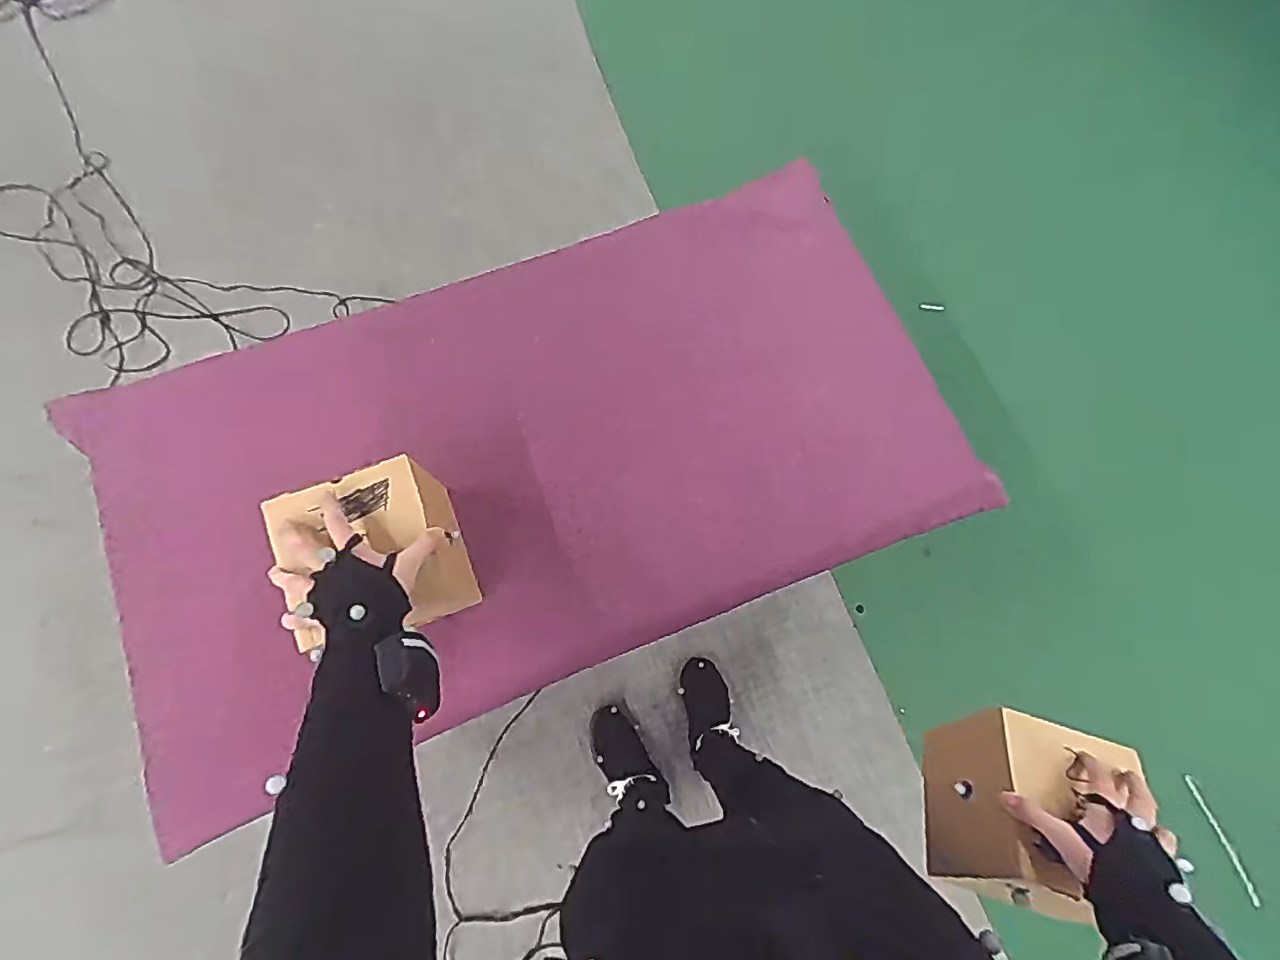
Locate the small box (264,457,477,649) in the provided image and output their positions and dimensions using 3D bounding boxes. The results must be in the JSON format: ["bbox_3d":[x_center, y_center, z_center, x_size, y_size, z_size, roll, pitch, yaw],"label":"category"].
[{"bbox_3d":[-0.323,0.098,0.678,0.168,0.176,0.179,-21,78,-9],"label":"small box"}]
